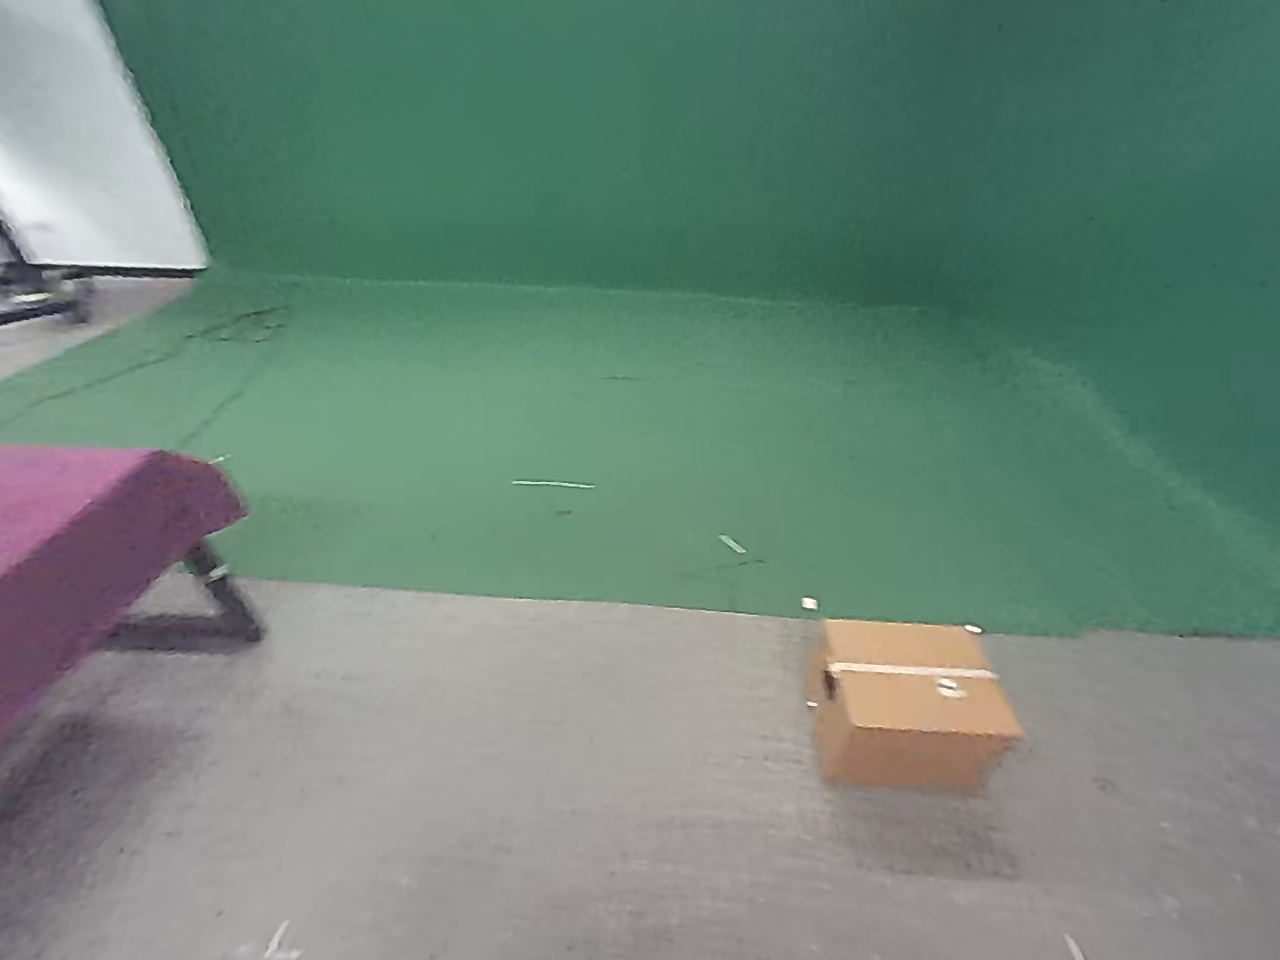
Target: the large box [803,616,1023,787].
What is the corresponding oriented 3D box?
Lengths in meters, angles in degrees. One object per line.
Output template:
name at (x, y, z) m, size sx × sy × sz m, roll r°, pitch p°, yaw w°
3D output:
large box at (0.700, 0.600, 1.472) m, size 0.408 × 0.320 × 0.320 m, roll 4°, pitch 38°, yaw 1°
